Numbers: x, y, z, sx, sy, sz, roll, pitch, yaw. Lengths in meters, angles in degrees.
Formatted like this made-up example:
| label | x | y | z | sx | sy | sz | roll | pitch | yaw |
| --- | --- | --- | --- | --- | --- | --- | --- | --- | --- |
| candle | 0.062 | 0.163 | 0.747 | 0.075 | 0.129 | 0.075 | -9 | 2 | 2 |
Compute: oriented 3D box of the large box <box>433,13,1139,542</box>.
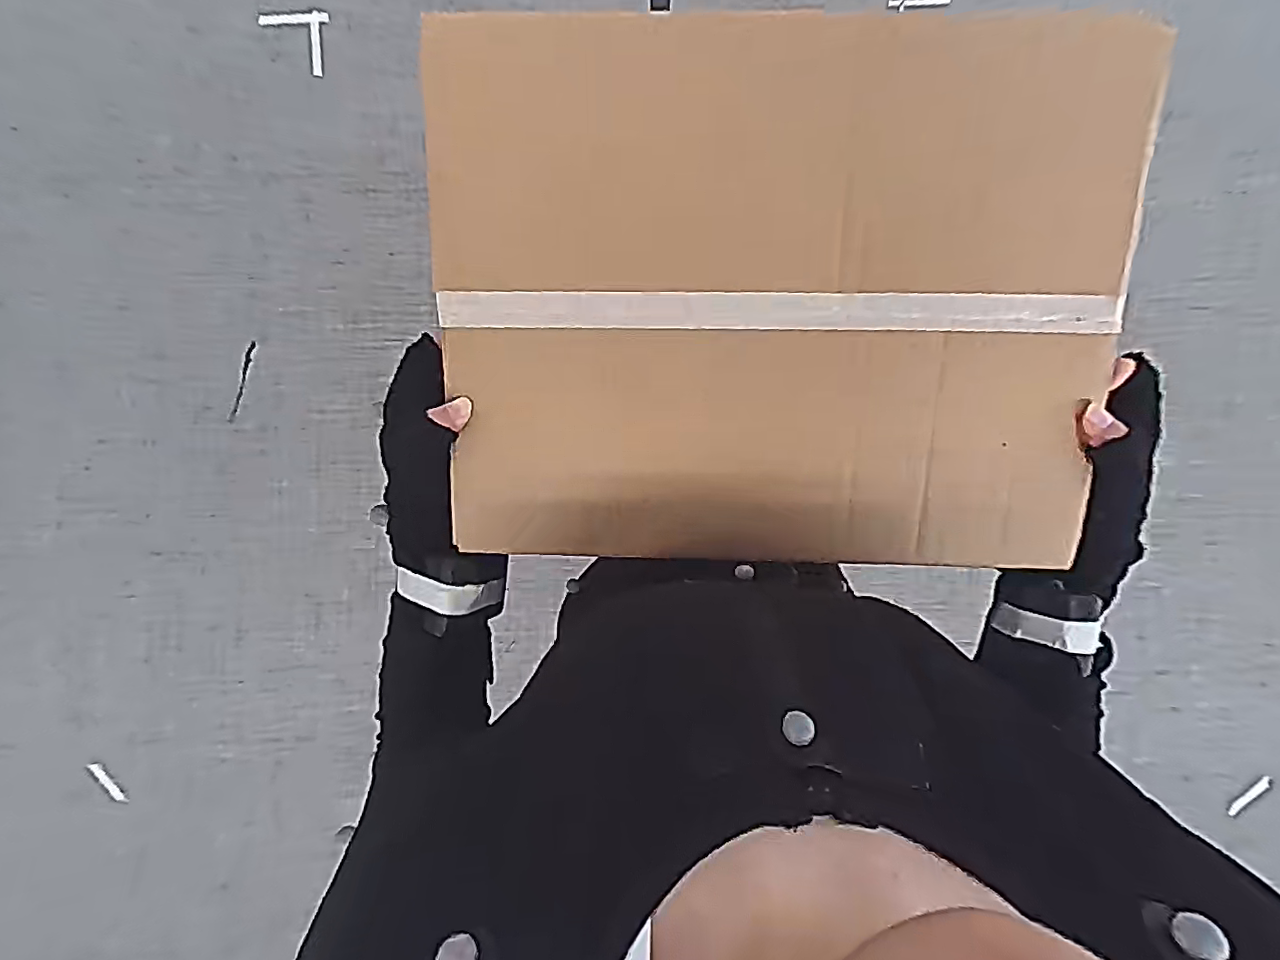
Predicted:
| label | x | y | z | sx | sy | sz | roll | pitch | yaw |
| --- | --- | --- | --- | --- | --- | --- | --- | --- | --- |
| large box | 0.081 | -0.140 | 0.479 | 0.408 | 0.320 | 0.320 | 1 | 103 | 1 |
